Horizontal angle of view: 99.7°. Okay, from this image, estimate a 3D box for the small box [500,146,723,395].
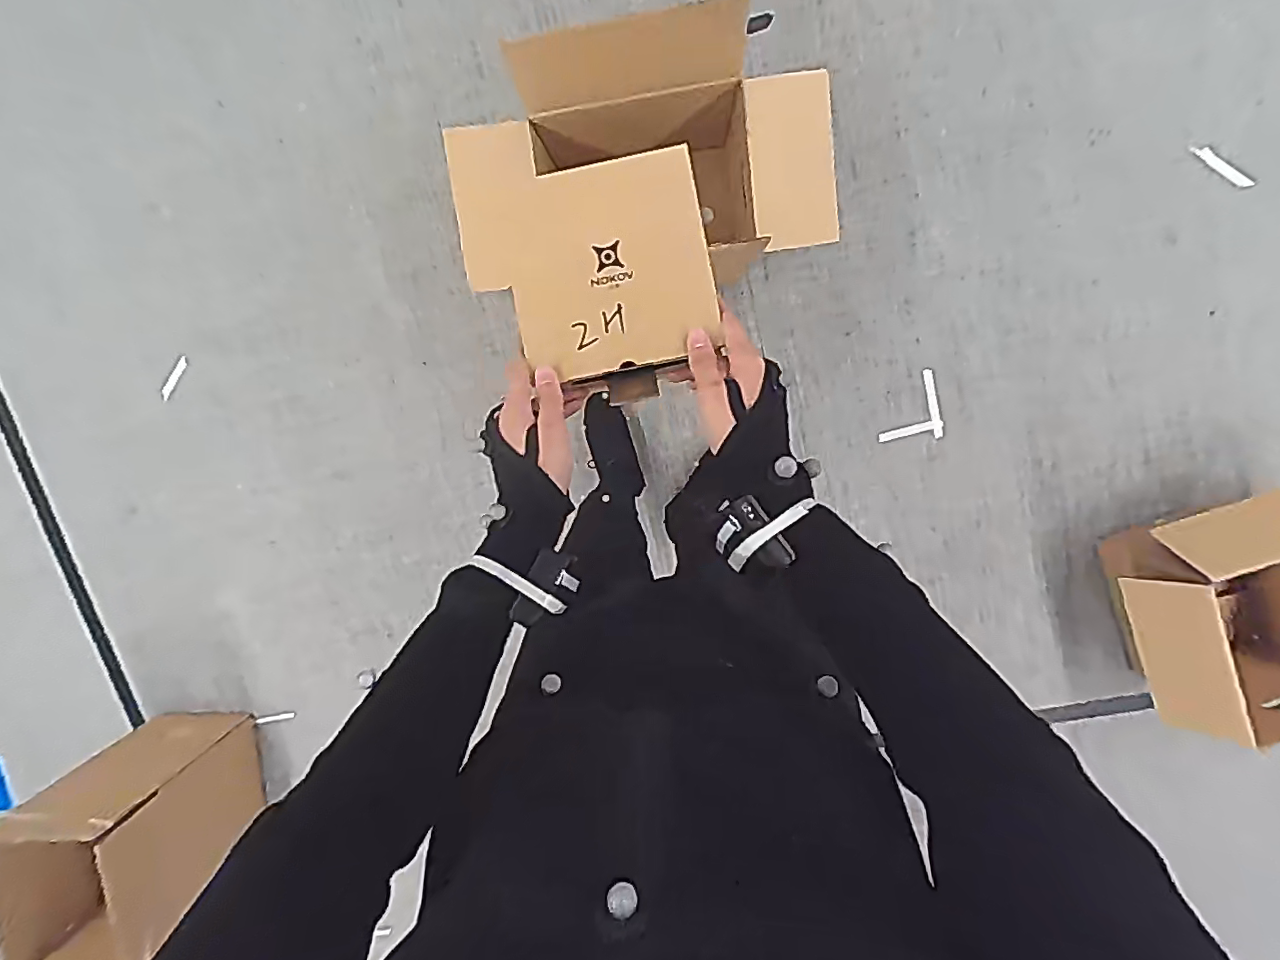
[{"bbox_3d":[-0.022,-0.185,0.532,0.168,0.176,0.179,-10,97,2],"label":"small box"}]
